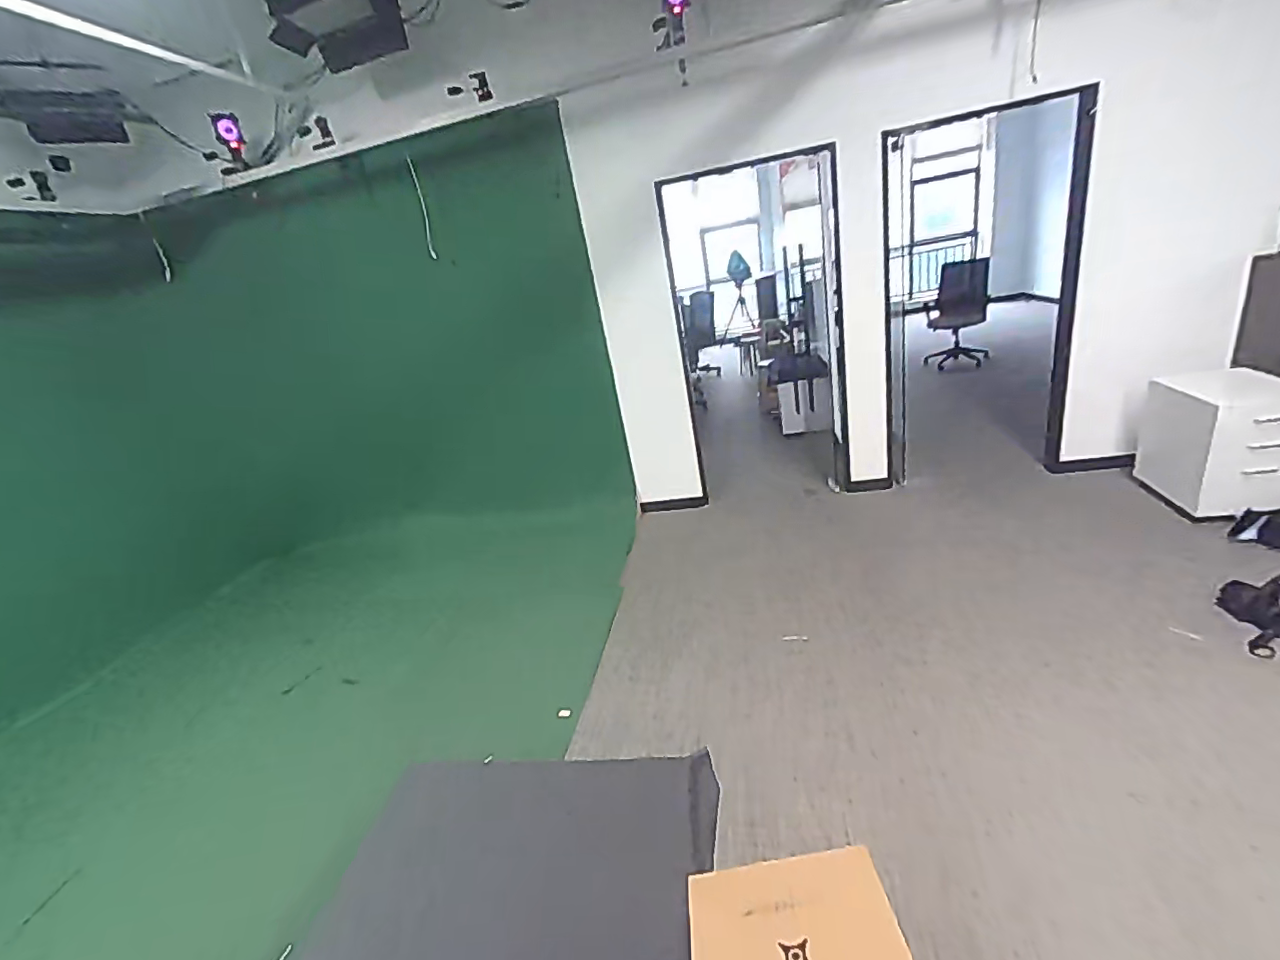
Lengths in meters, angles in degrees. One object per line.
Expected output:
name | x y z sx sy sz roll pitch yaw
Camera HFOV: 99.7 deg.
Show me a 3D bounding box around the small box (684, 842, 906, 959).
small box | 0.135 0.438 0.424 0.168 0.176 0.179 -13 10 5
